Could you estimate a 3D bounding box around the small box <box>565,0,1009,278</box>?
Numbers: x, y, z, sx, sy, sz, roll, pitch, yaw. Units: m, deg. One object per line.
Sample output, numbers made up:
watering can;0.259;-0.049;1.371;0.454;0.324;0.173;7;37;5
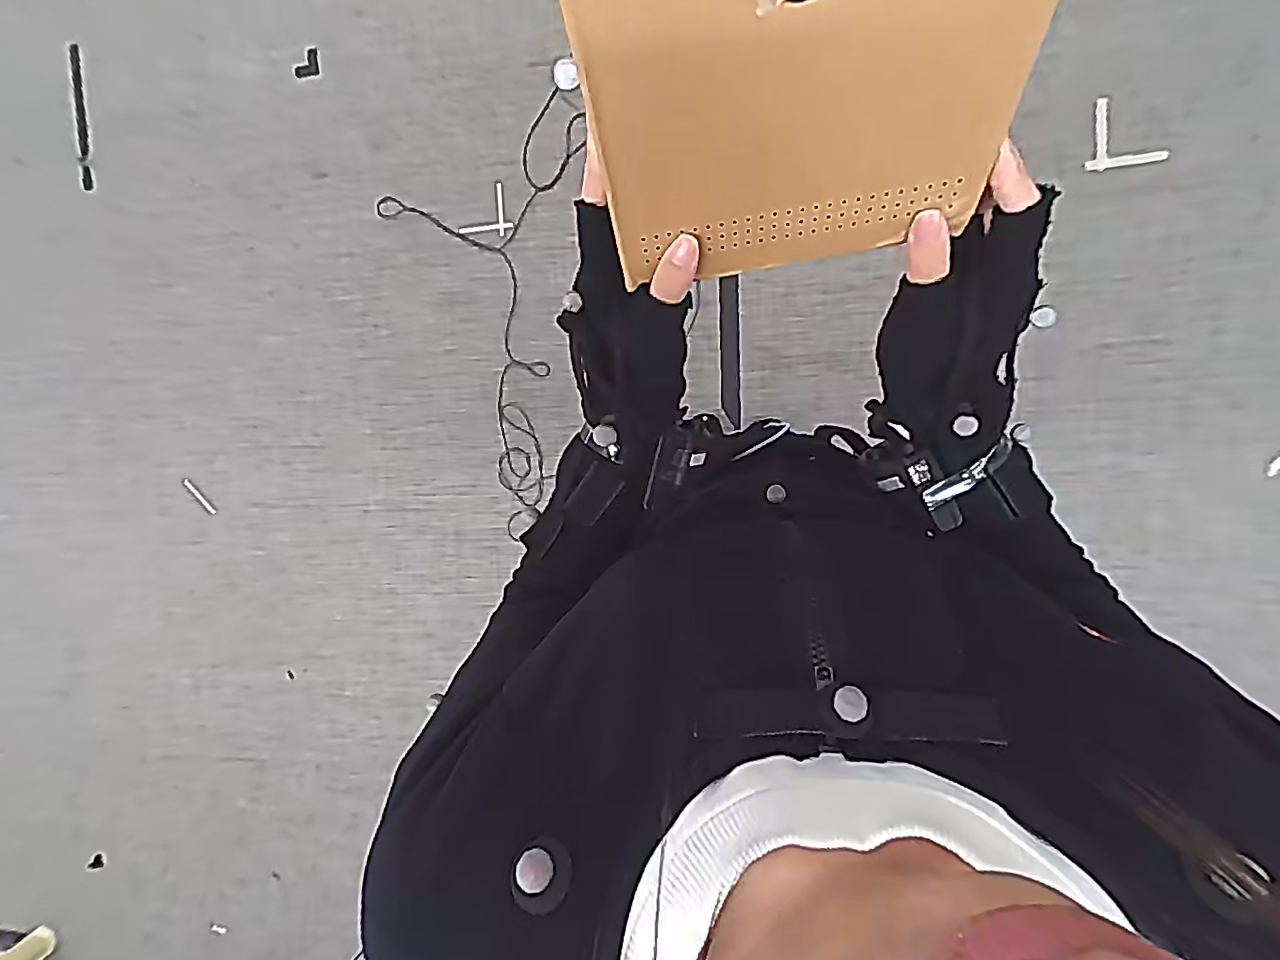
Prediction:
small box;0.062;-0.226;0.271;0.179;0.176;0.168;-7;60;8
